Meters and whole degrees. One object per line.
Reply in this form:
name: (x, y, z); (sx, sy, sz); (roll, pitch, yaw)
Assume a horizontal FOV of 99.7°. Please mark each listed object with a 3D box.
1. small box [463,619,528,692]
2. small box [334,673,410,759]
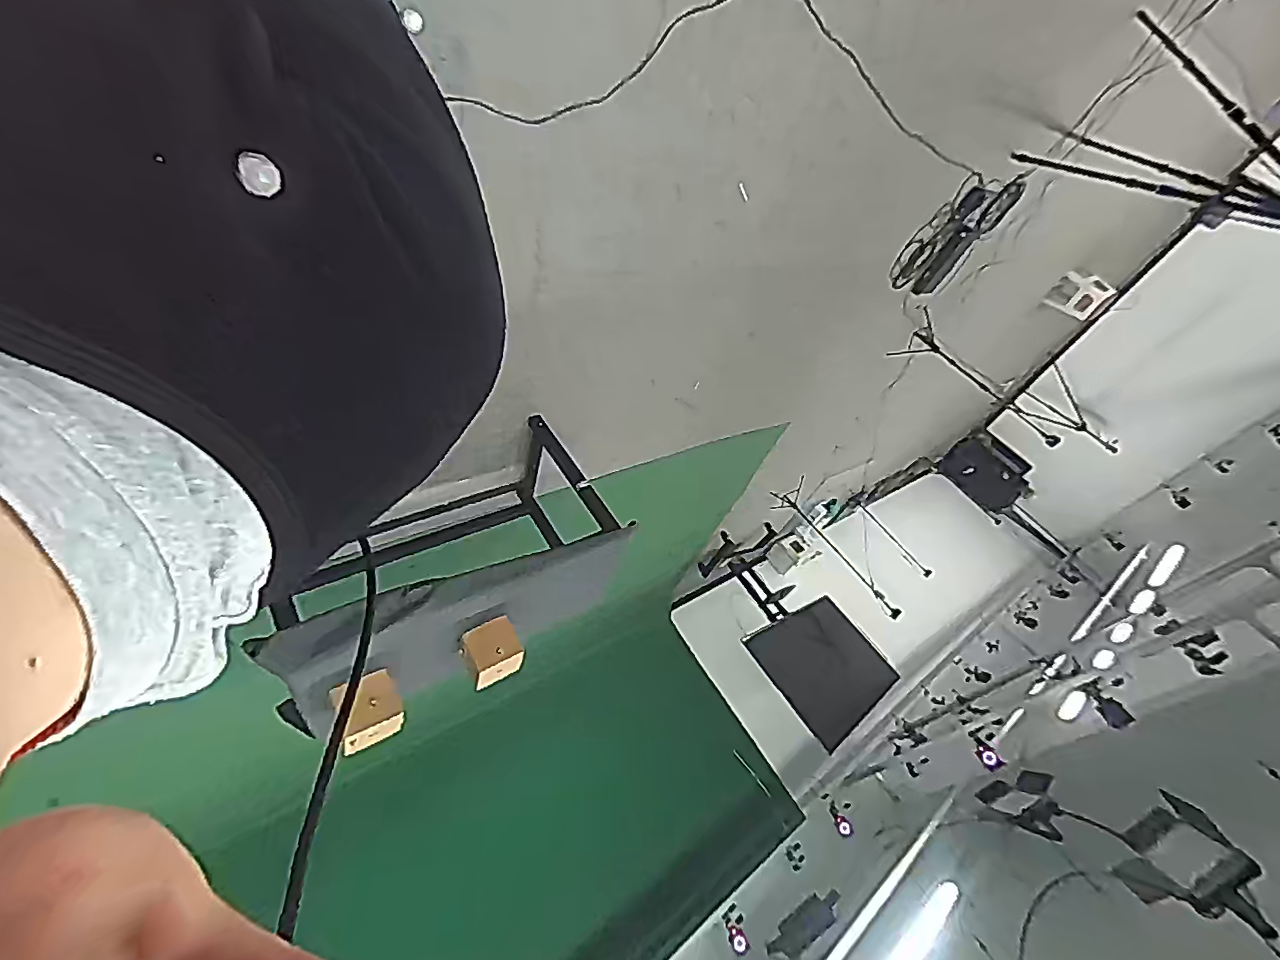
small box: (-0.541, 0.649, 2.020); (0.179, 0.176, 0.168); (-18, 147, -33)
small box: (-0.879, 0.765, 1.768); (0.179, 0.176, 0.168); (-16, 146, -39)
